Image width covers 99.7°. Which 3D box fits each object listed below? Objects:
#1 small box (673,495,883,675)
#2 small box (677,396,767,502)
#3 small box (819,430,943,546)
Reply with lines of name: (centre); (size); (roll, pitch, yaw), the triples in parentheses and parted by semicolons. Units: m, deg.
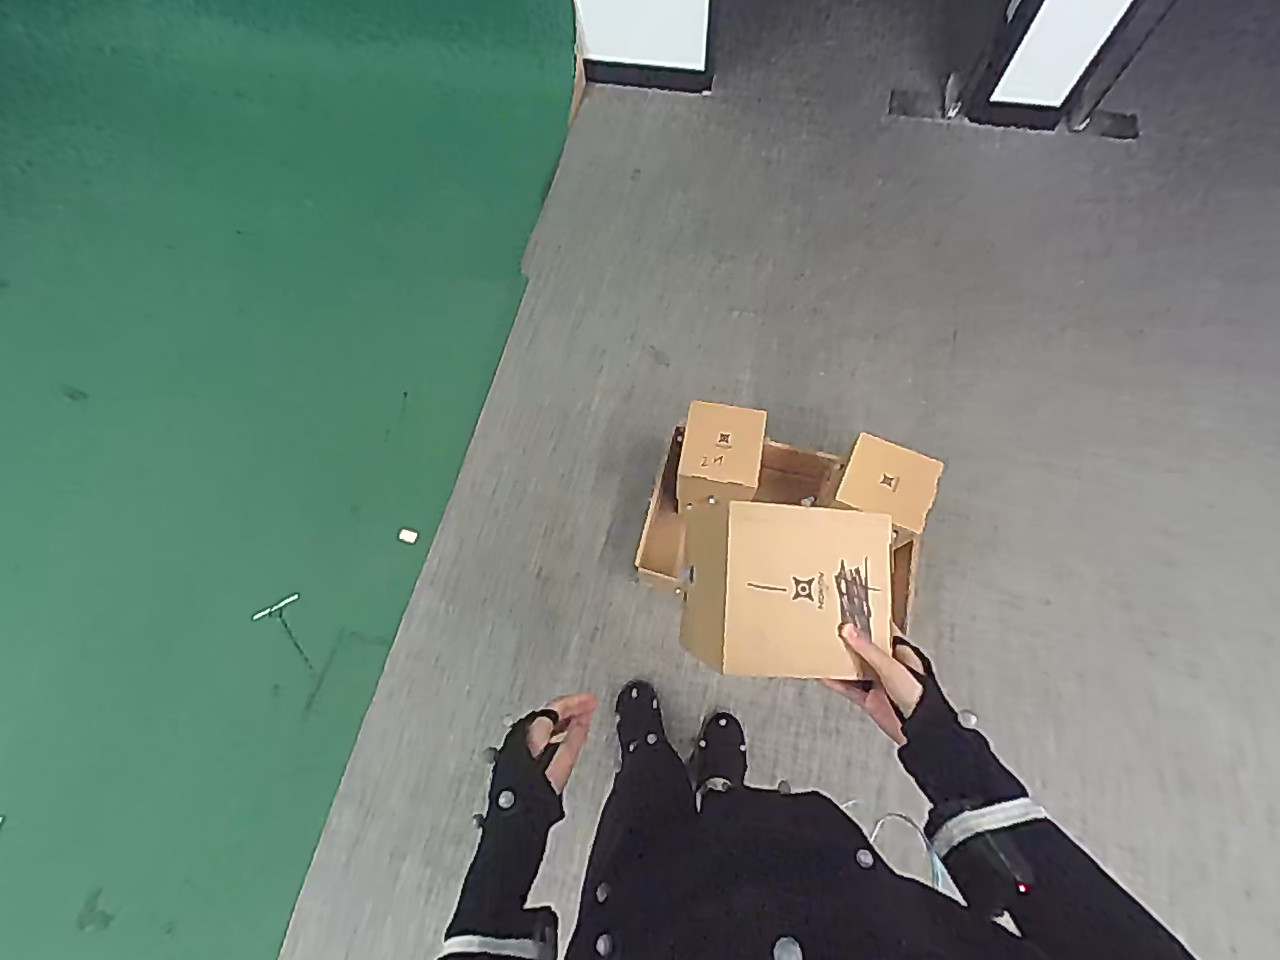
small box: (0.144, 0.112, 0.605); (0.179, 0.176, 0.168); (5, 81, -7)
small box: (0.176, -0.059, 1.197); (0.168, 0.176, 0.179); (11, 73, 8)
small box: (0.500, 0.025, 1.154); (0.179, 0.176, 0.168); (24, 75, 11)
